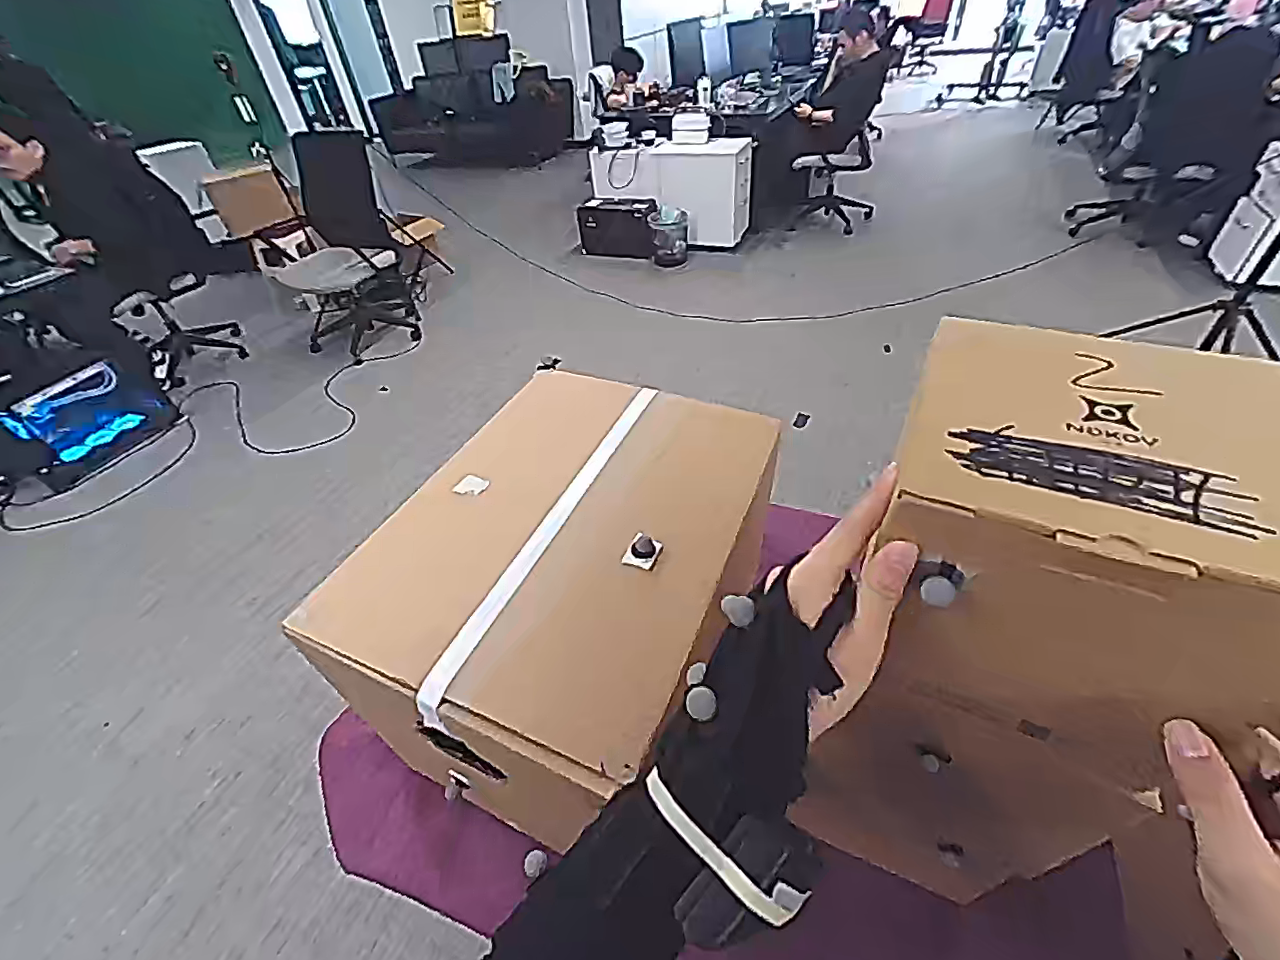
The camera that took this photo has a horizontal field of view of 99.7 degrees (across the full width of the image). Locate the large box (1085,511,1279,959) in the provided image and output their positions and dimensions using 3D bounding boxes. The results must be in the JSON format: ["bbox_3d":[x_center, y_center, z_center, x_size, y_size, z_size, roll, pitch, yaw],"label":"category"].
[{"bbox_3d":[0.581,0.292,0.369,0.320,0.320,0.408,14,44,20],"label":"large box"}]
